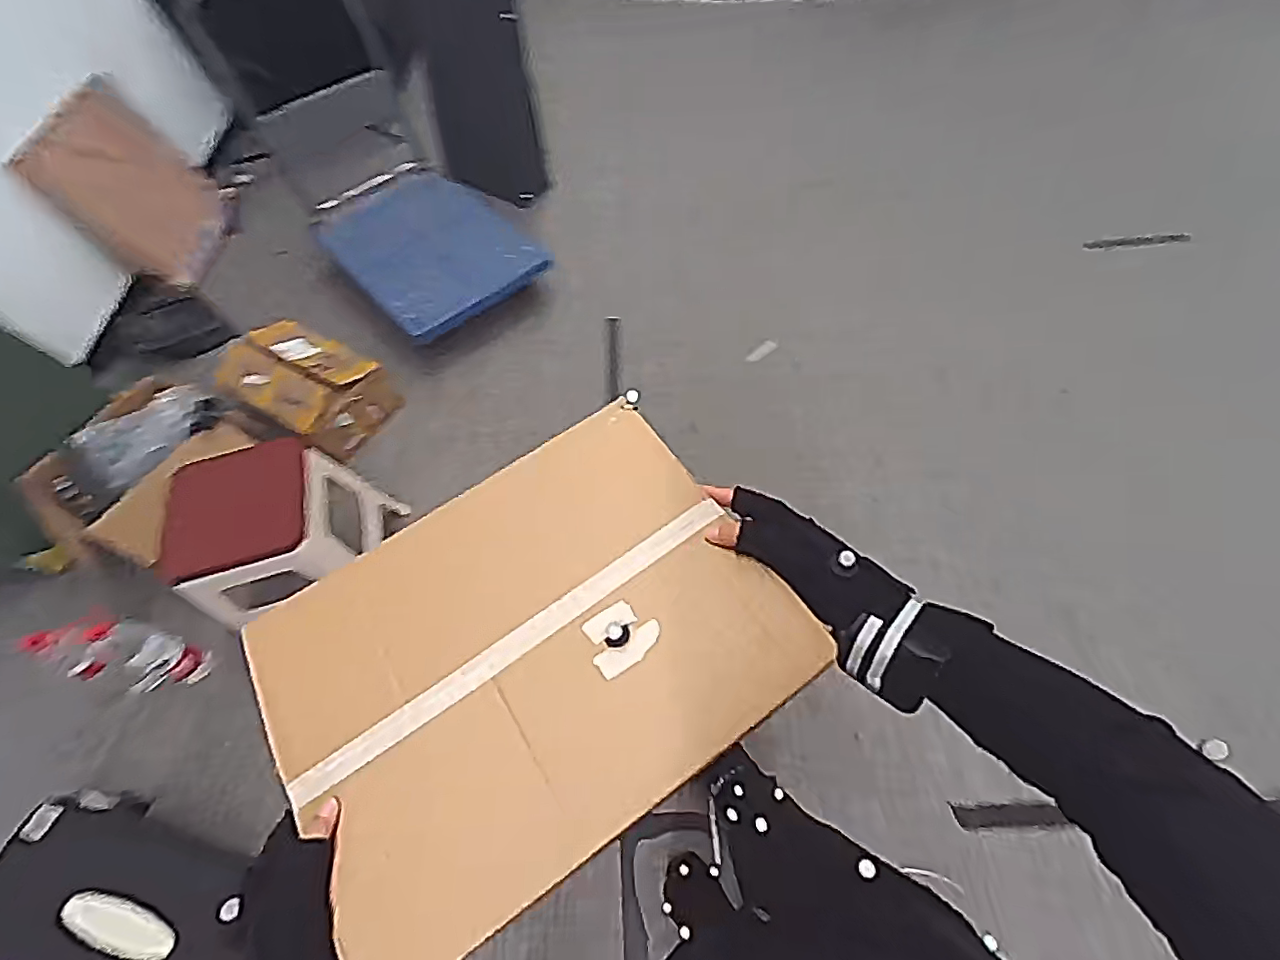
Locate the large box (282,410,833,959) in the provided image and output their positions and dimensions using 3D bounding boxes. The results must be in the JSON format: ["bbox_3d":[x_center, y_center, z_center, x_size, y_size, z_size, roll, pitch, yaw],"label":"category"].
[{"bbox_3d":[-0.071,0.207,0.597,0.408,0.320,0.320,-32,64,-11],"label":"large box"}]
